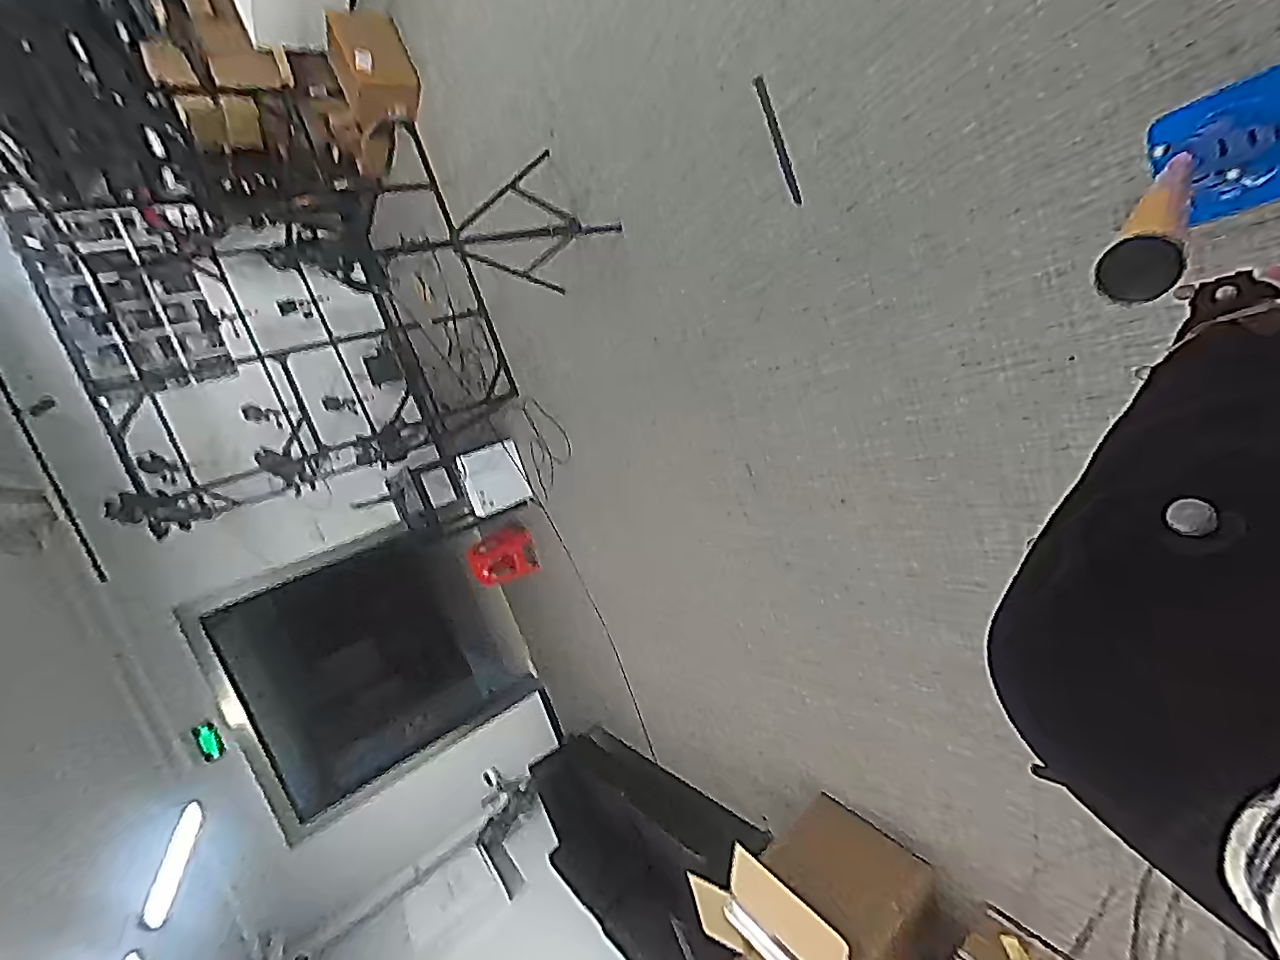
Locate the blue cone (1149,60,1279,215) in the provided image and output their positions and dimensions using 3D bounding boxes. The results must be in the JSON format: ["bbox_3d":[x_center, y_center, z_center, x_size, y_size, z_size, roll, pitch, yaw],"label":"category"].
[{"bbox_3d":[0.859,-0.506,0.818,0.193,0.380,0.192,-2,109,57],"label":"blue cone"}]
